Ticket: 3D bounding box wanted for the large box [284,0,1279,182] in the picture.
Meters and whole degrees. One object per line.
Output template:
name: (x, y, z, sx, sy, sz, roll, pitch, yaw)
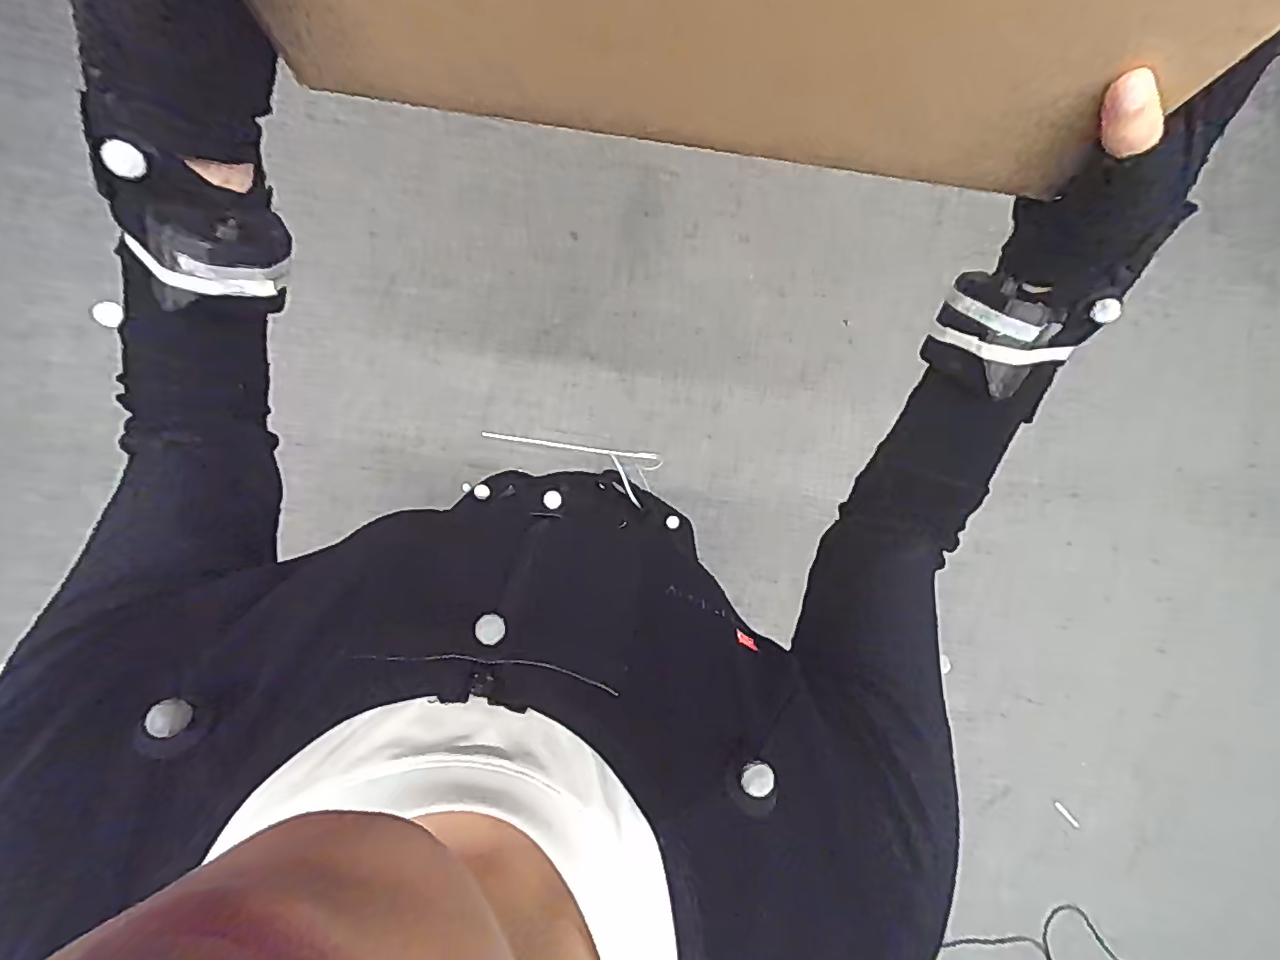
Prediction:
large box: (0.064, -0.344, 0.157, 0.408, 0.320, 0.320, 6, 84, -4)
